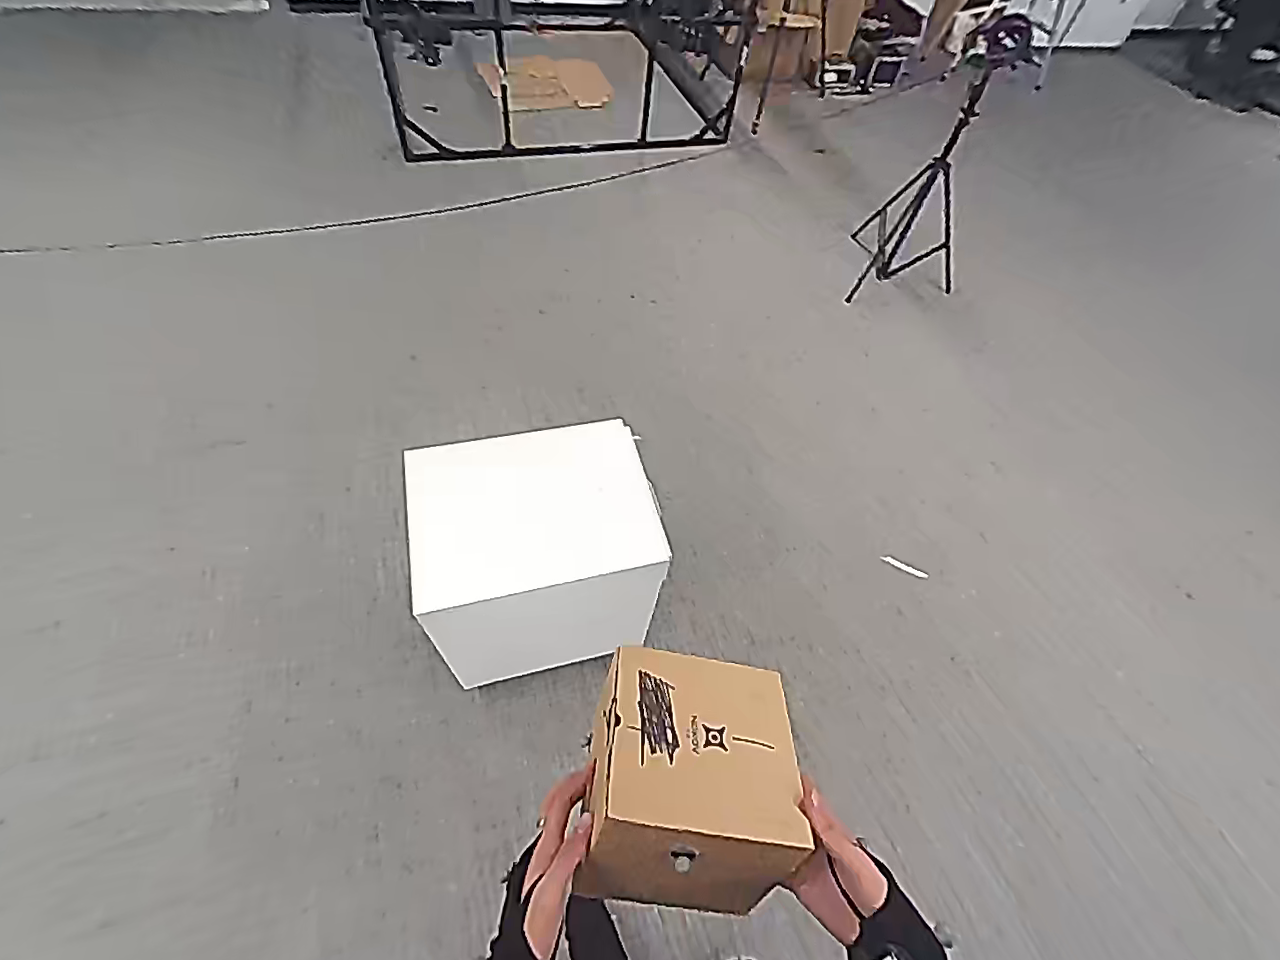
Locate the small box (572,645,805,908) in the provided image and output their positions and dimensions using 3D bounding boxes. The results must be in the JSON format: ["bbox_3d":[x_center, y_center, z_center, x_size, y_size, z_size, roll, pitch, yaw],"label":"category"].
[{"bbox_3d":[0.035,0.295,0.539,0.179,0.176,0.168,12,35,-6],"label":"small box"}]
